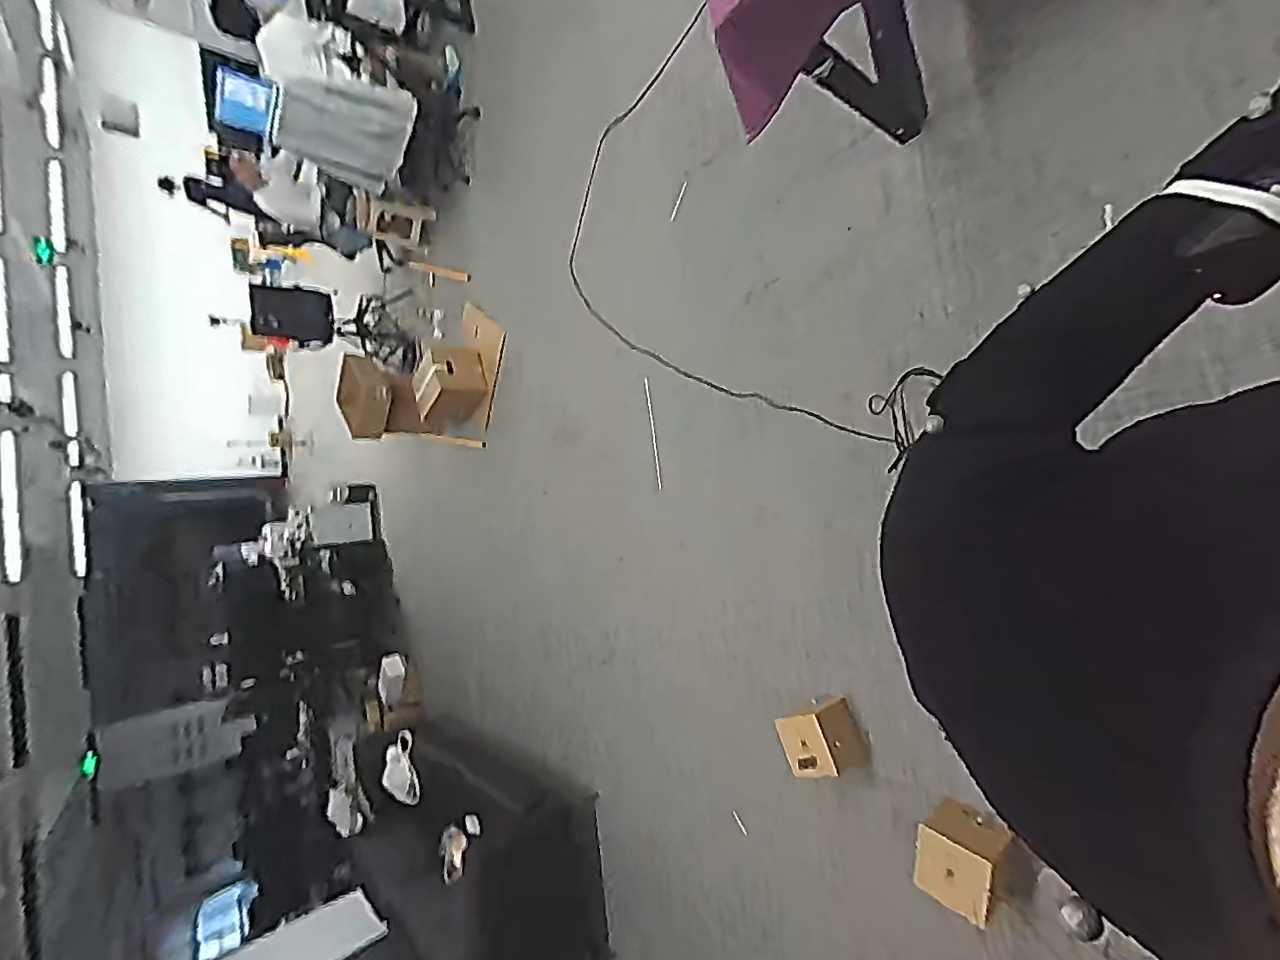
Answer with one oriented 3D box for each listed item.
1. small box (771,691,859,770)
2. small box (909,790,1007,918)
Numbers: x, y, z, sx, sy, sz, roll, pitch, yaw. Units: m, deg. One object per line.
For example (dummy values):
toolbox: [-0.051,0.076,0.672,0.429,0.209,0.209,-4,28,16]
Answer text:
small box: [0.548,0.778,1.683,0.168,0.176,0.179,-36,66,45]
small box: [0.815,0.946,1.385,0.168,0.176,0.179,10,102,48]
